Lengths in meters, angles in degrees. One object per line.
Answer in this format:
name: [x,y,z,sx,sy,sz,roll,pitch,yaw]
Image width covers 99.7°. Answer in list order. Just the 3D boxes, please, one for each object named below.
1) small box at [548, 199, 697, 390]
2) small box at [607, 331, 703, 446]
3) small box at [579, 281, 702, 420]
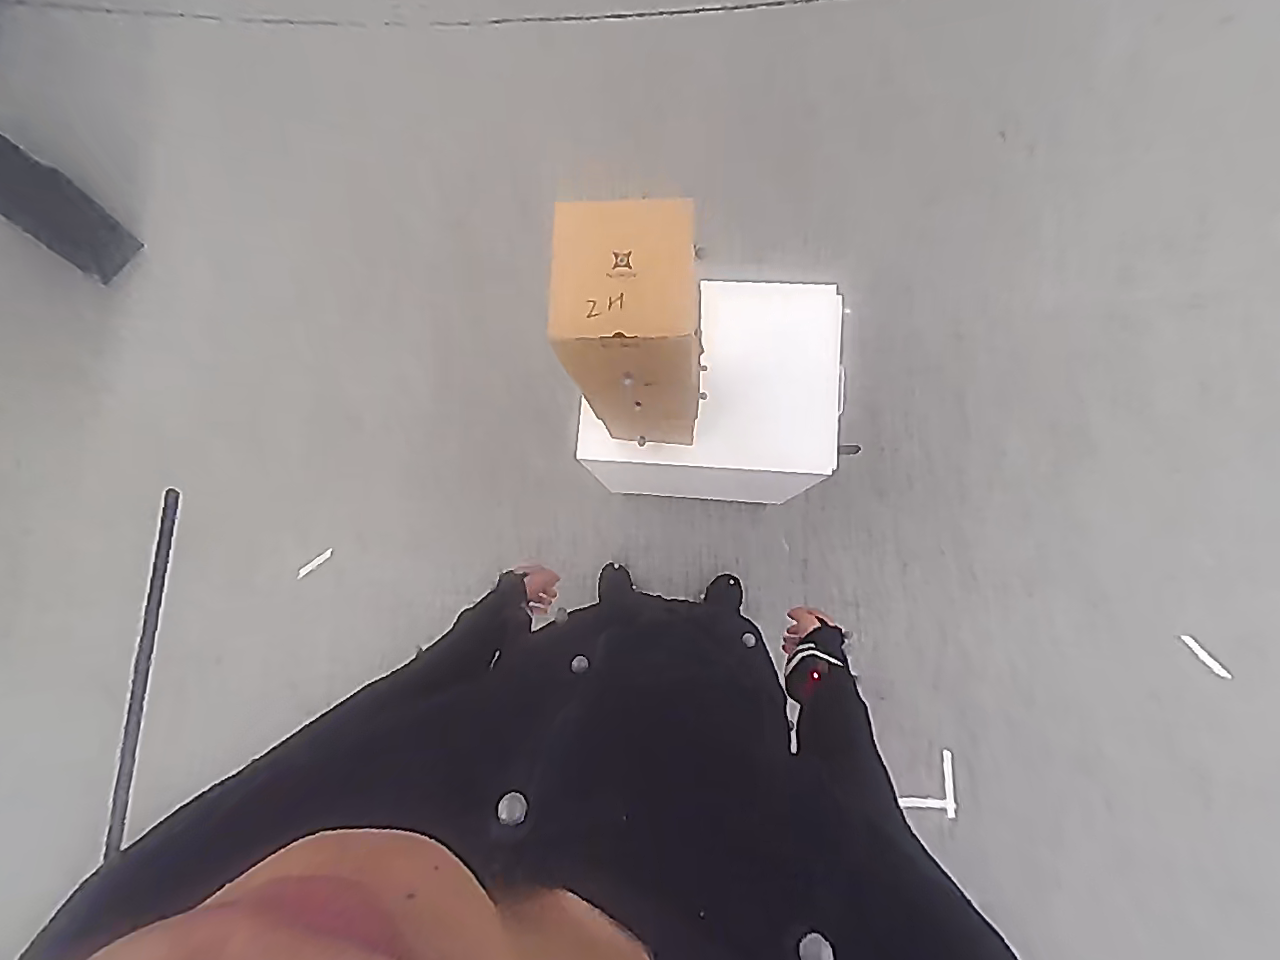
small box: [-0.013,-0.227,0.694,0.168,0.176,0.179,1,81,6]
small box: [0.026,-0.171,1.016,0.168,0.176,0.179,5,82,5]
small box: [0.007,-0.196,0.855,0.179,0.176,0.168,0,80,6]
